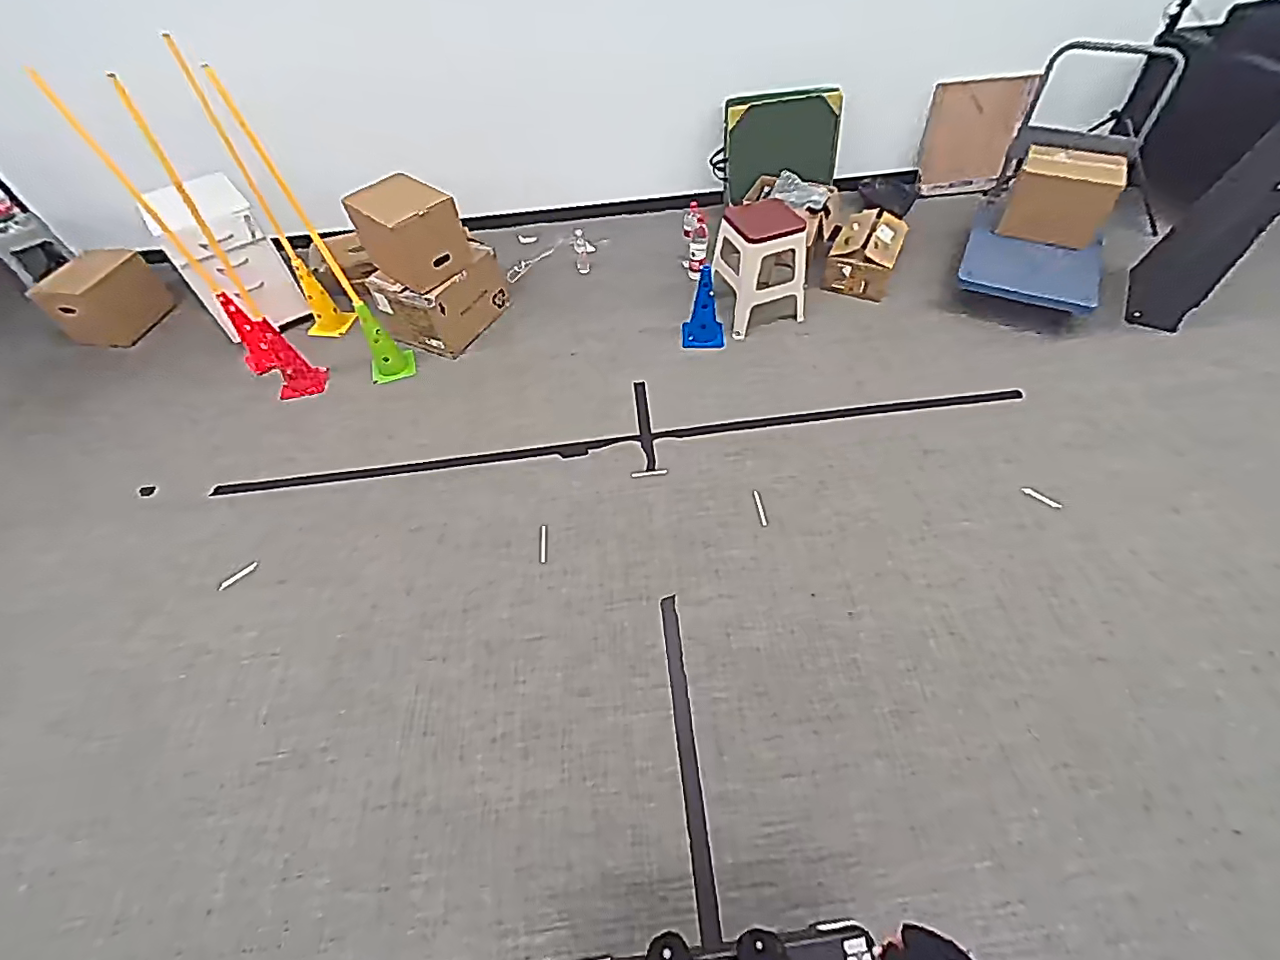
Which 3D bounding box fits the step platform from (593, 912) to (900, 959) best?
[{"bbox_3d":[0.215,1.113,1.102,0.684,0.204,0.286,-7,52,-3],"label":"step platform"}]
